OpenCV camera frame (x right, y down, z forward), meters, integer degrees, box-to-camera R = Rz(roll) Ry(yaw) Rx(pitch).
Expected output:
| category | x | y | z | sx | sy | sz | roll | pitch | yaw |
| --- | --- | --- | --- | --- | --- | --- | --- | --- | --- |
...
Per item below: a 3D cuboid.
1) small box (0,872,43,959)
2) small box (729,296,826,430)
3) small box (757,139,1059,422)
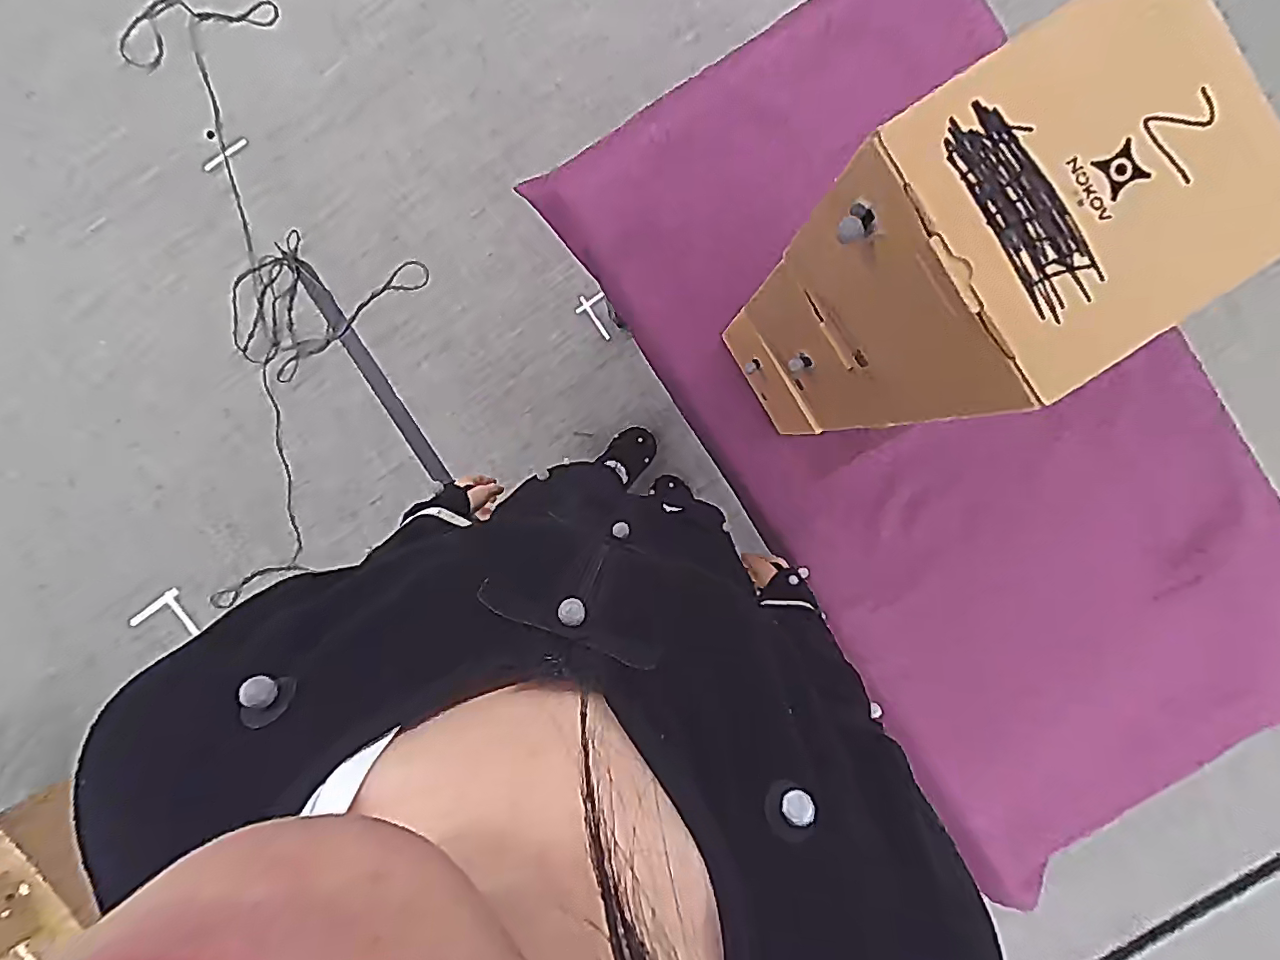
| category | x | y | z | sx | sy | sz | roll | pitch | yaw |
| --- | --- | --- | --- | --- | --- | --- | --- | --- | --- |
| small box | -1.543 | 1.051 | 1.221 | 0.179 | 0.176 | 0.168 | -36 | 93 | 2 |
| small box | 0.227 | -0.174 | 0.688 | 0.179 | 0.176 | 0.168 | -32 | 93 | 2 |
| small box | 0.231 | -0.168 | 0.524 | 0.179 | 0.176 | 0.168 | -34 | 93 | 2 |
